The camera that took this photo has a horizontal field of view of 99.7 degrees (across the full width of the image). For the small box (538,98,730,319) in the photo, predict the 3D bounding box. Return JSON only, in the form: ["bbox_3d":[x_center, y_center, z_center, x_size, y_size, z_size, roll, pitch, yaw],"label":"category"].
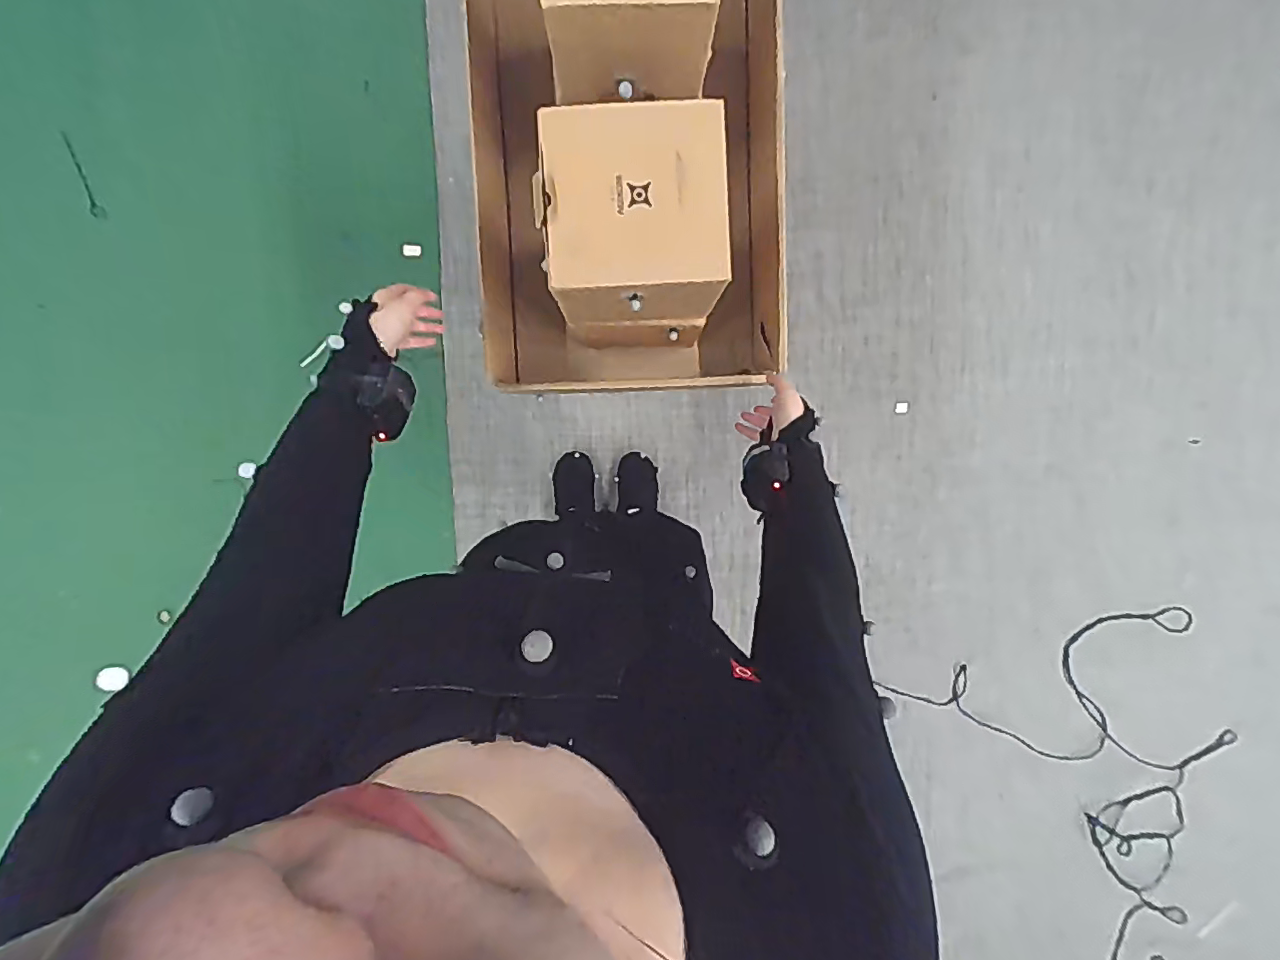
[{"bbox_3d":[-0.005,-0.276,0.587,0.179,0.176,0.168,-4,96,-1],"label":"small box"}]

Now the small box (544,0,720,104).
[{"bbox_3d":[-0.011,-0.527,0.558,0.168,0.176,0.179,-1,98,-1],"label":"small box"}]
